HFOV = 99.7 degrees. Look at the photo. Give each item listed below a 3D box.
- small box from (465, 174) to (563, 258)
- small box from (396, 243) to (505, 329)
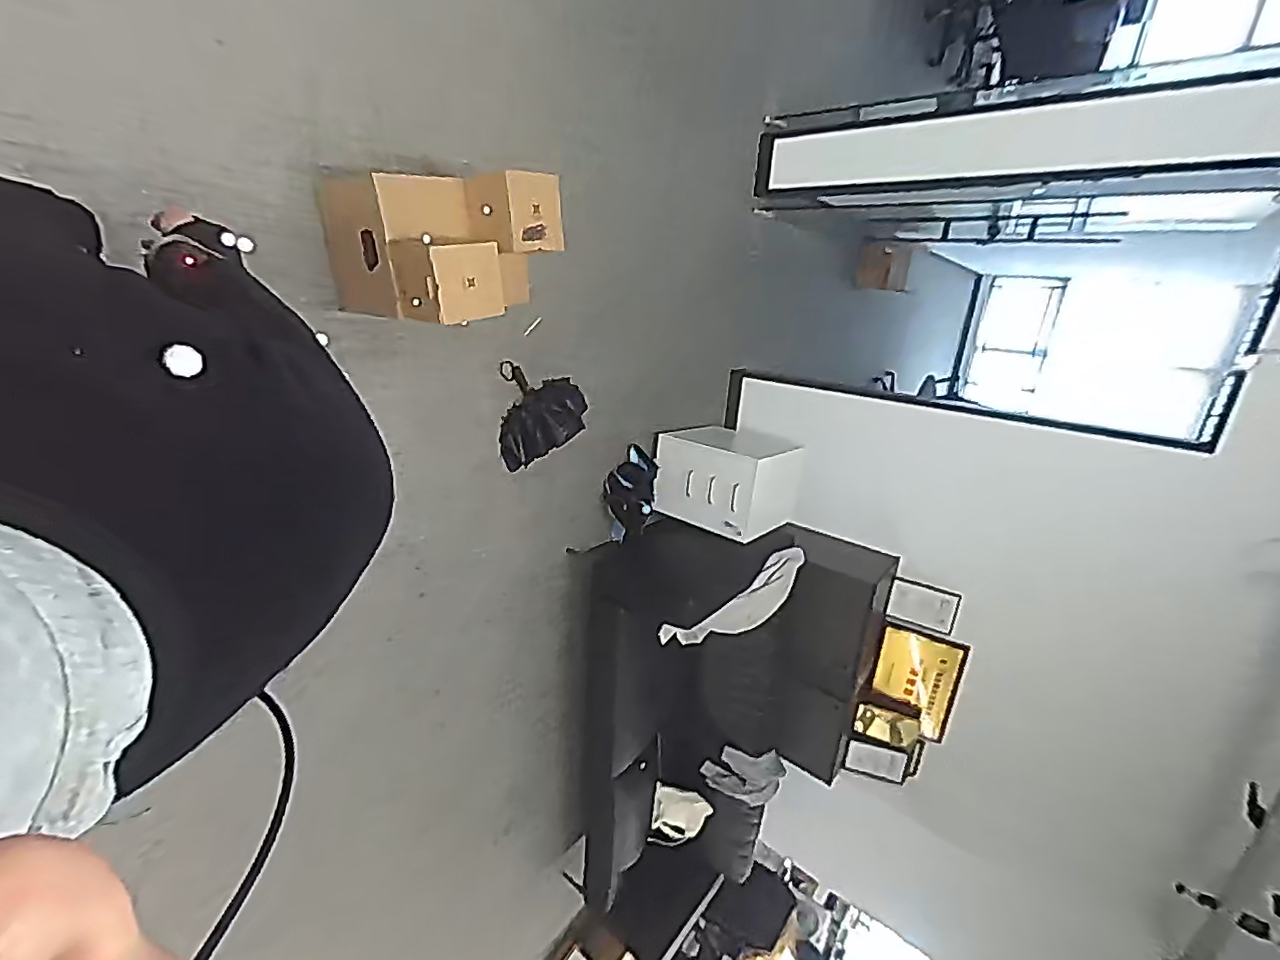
[{"bbox_3d":[-0.315,-0.652,1.356,0.168,0.176,0.179,-26,121,-45],"label":"small box"},{"bbox_3d":[-0.447,-0.458,1.265,0.179,0.176,0.168,-32,131,-44],"label":"small box"}]
